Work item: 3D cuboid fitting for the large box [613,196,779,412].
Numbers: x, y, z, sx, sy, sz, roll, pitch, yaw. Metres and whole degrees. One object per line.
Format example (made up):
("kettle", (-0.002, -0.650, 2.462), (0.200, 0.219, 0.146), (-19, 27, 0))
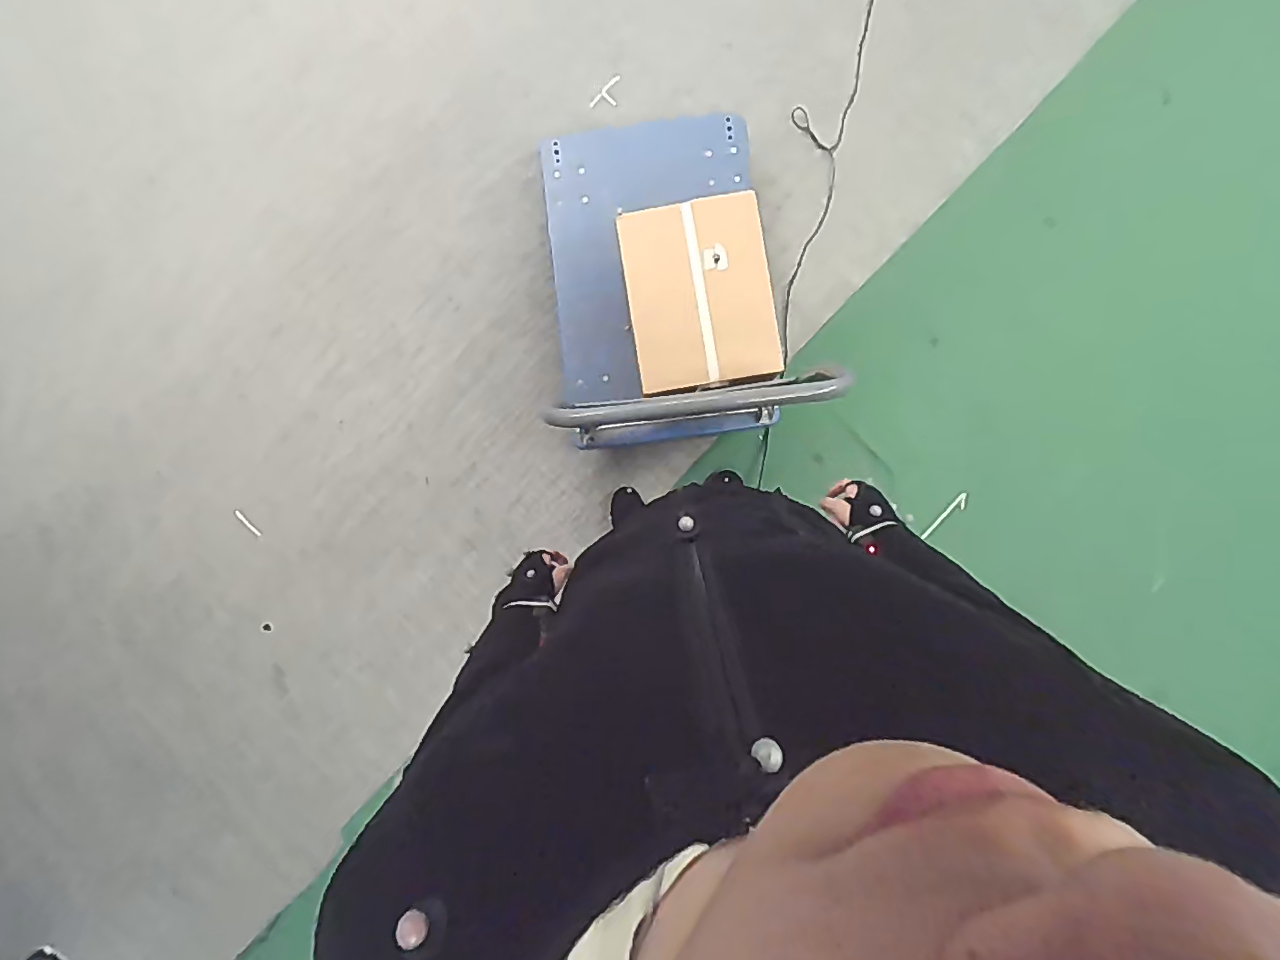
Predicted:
("large box", (0.129, -0.409, 1.349), (0.320, 0.320, 0.408), (-9, 88, 1))
